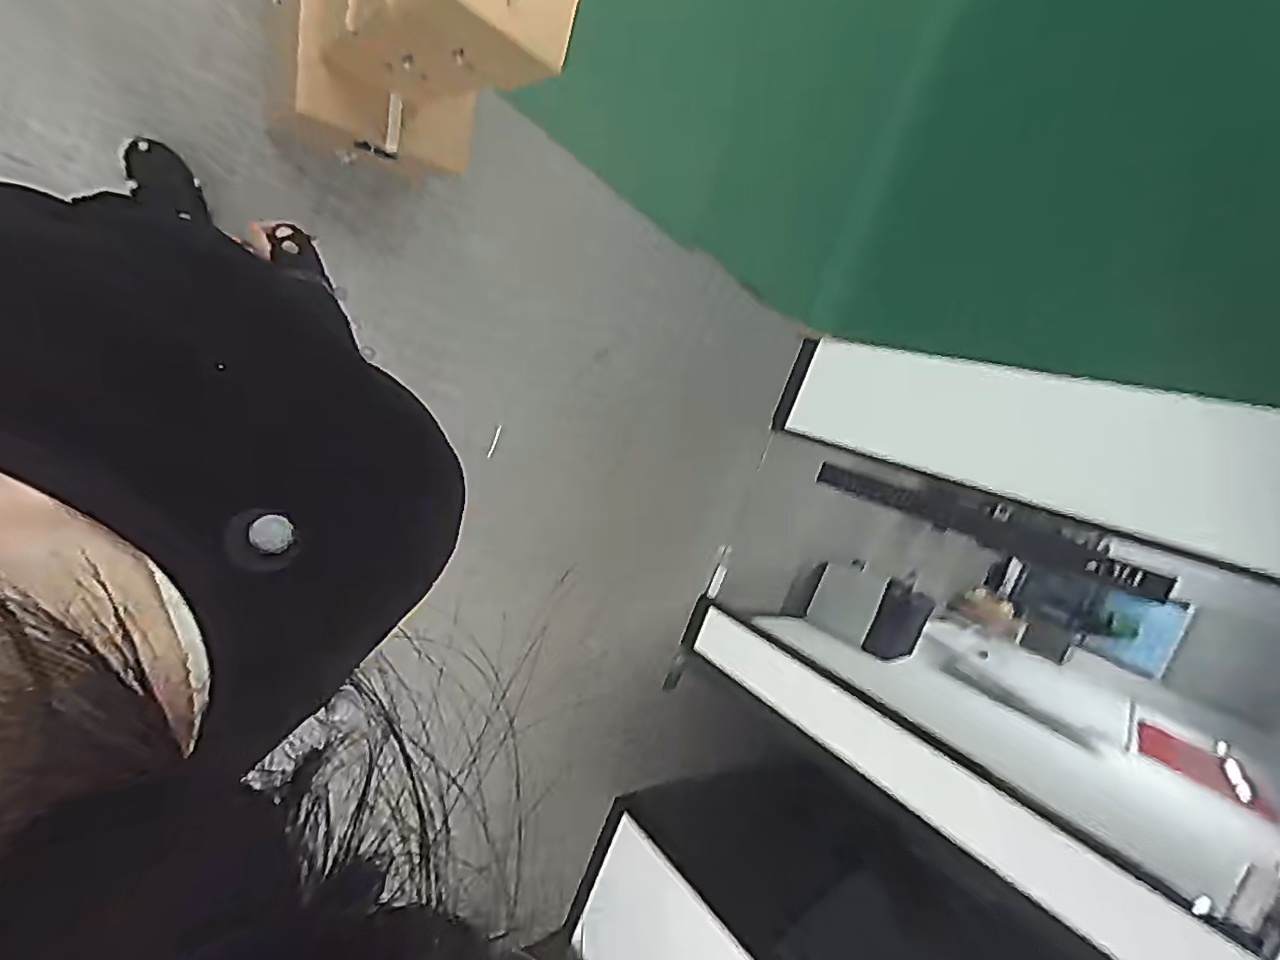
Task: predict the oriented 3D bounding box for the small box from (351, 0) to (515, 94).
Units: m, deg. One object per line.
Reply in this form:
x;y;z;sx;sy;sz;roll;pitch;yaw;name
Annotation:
-0.301;-0.710;0.788;0.168;0.176;0.179;7;104;-45;small box

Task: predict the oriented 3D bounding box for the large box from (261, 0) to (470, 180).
-0.545;-0.870;1.075;0.320;0.320;0.408;-3;109;-45;large box

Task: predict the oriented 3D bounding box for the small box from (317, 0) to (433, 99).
-0.411;-0.766;0.893;0.179;0.176;0.168;5;106;-45;small box
